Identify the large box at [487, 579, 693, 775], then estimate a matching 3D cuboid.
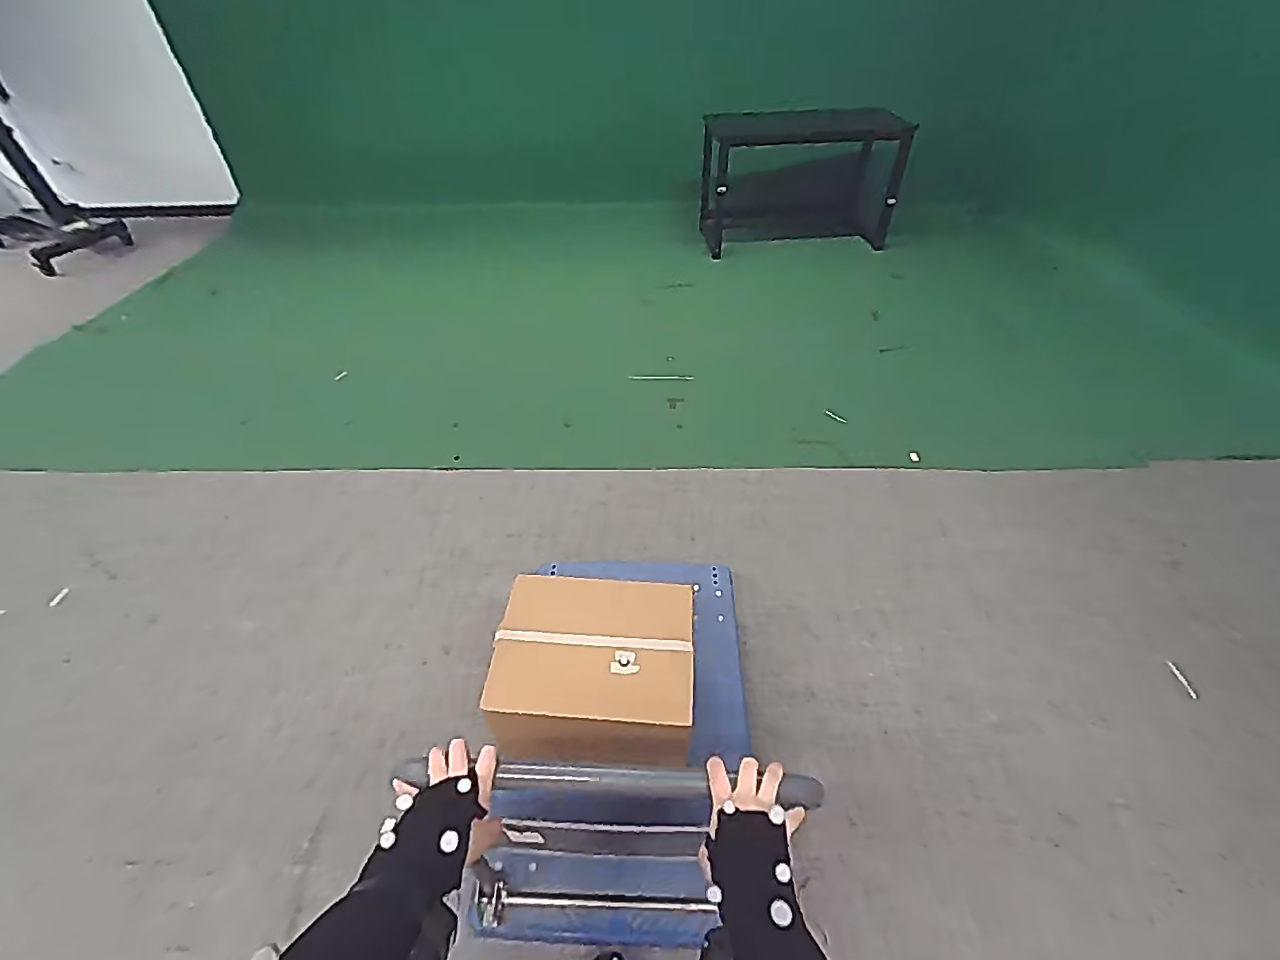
[{"bbox_3d":[-0.093,0.452,1.240,0.408,0.320,0.320,3,44,3],"label":"large box"}]
